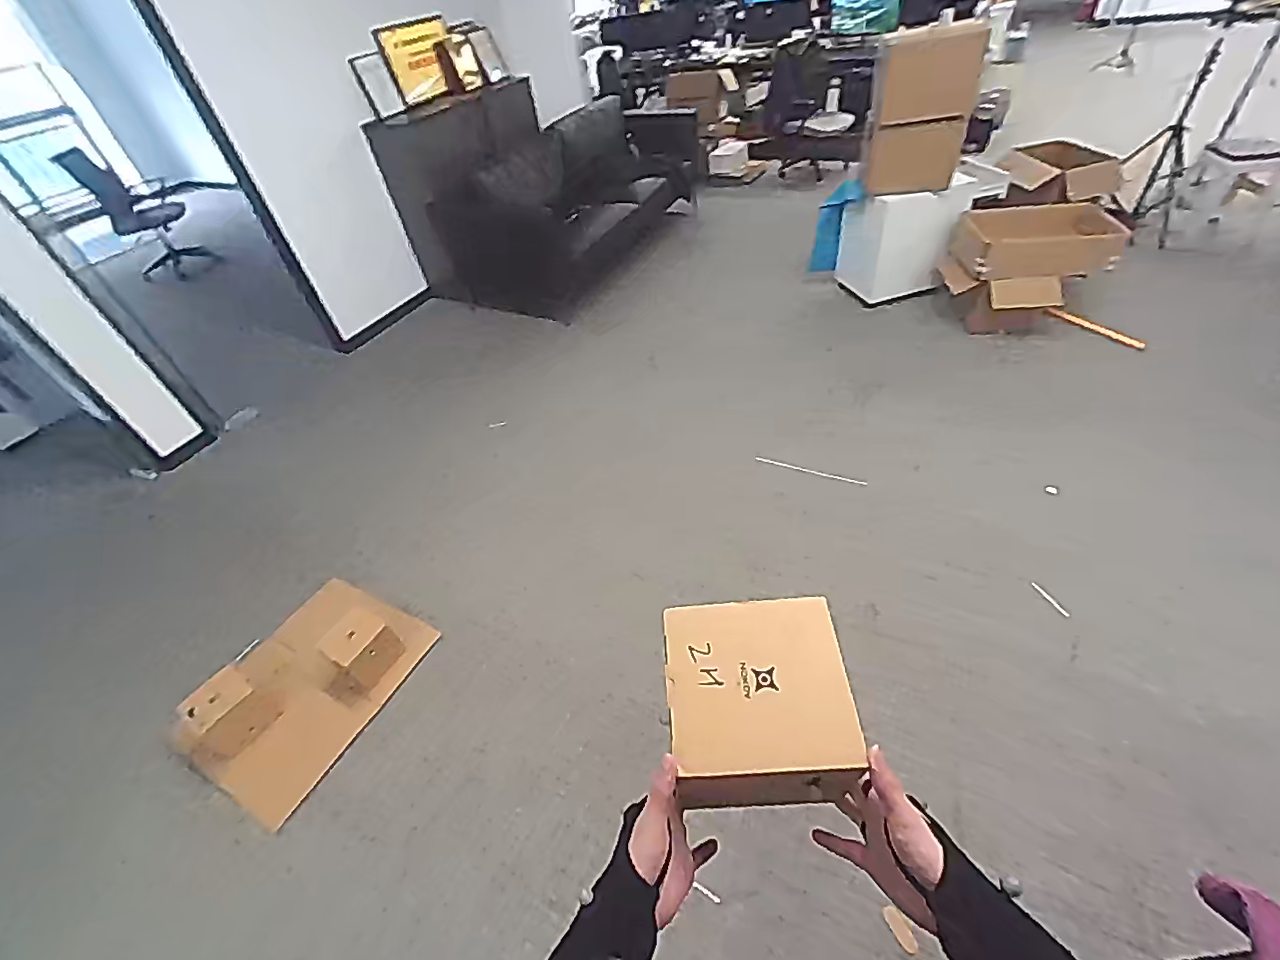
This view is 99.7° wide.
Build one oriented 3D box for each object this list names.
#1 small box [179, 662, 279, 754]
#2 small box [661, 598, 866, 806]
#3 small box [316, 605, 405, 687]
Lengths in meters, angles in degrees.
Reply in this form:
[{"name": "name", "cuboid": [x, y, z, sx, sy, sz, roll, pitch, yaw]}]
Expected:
[{"name": "small box", "cuboid": [-1.287, 0.723, 1.710, 0.168, 0.176, 0.179, 24, 53, 30]}, {"name": "small box", "cuboid": [0.118, 0.244, 0.586, 0.179, 0.176, 0.168, -5, 50, 4]}, {"name": "small box", "cuboid": [-0.932, 0.562, 1.820, 0.168, 0.176, 0.179, 18, 51, 25]}]
